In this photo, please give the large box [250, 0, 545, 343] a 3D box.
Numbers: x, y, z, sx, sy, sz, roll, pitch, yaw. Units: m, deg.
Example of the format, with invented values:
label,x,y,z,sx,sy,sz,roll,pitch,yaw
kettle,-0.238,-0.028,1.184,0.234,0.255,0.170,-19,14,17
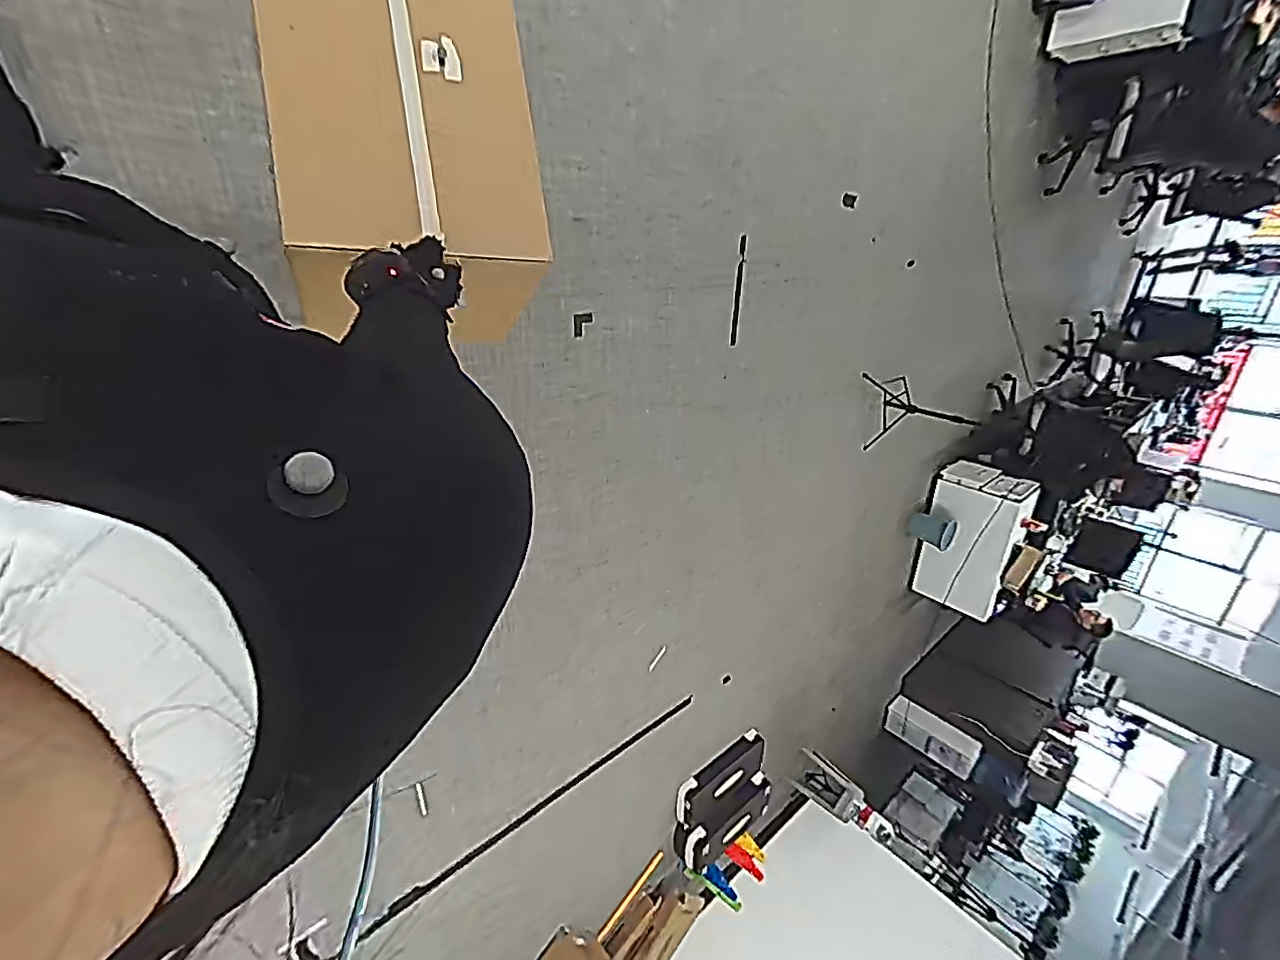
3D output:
label,x,y,z,sx,sy,sz,roll,pitch,yaw
large box,-0.368,-0.458,0.830,0.320,0.320,0.408,-8,85,-28
